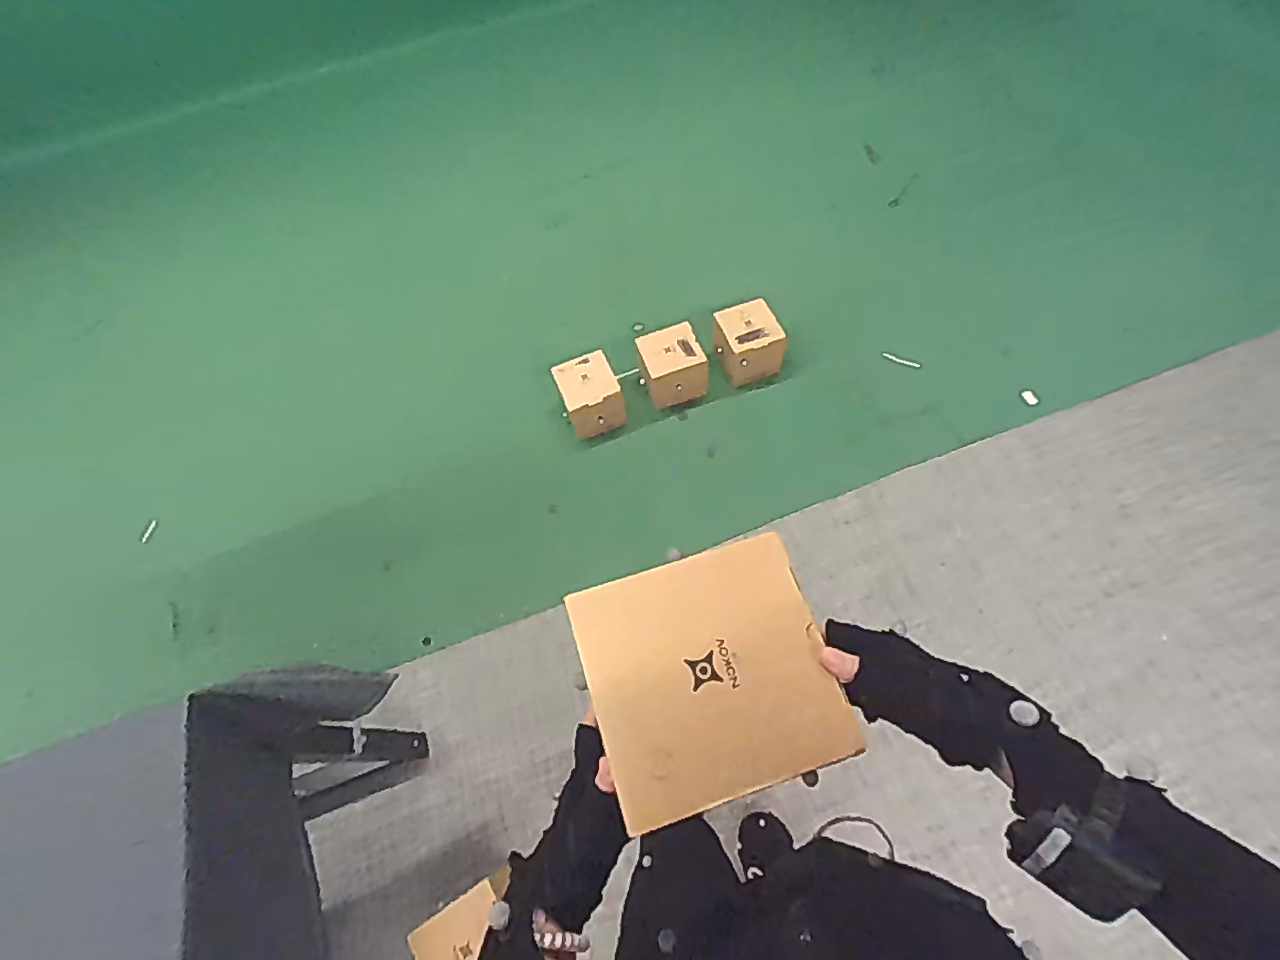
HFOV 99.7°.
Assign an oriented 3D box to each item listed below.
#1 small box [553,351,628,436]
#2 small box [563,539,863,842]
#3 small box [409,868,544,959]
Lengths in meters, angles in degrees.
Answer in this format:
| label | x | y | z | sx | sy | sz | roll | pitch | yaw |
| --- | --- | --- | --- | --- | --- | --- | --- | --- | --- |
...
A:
| label | x | y | z | sx | sy | sz | roll | pitch | yaw |
| --- | --- | --- | --- | --- | --- | --- | --- | --- | --- |
| small box | -0.145 | -0.253 | 1.645 | 0.168 | 0.176 | 0.179 | -21 | 64 | -5 |
| small box | 0.047 | 0.169 | 0.458 | 0.179 | 0.176 | 0.168 | -16 | 70 | -7 |
| small box | -0.315 | 0.915 | 1.070 | 0.179 | 0.176 | 0.168 | -31 | 65 | -10 |
